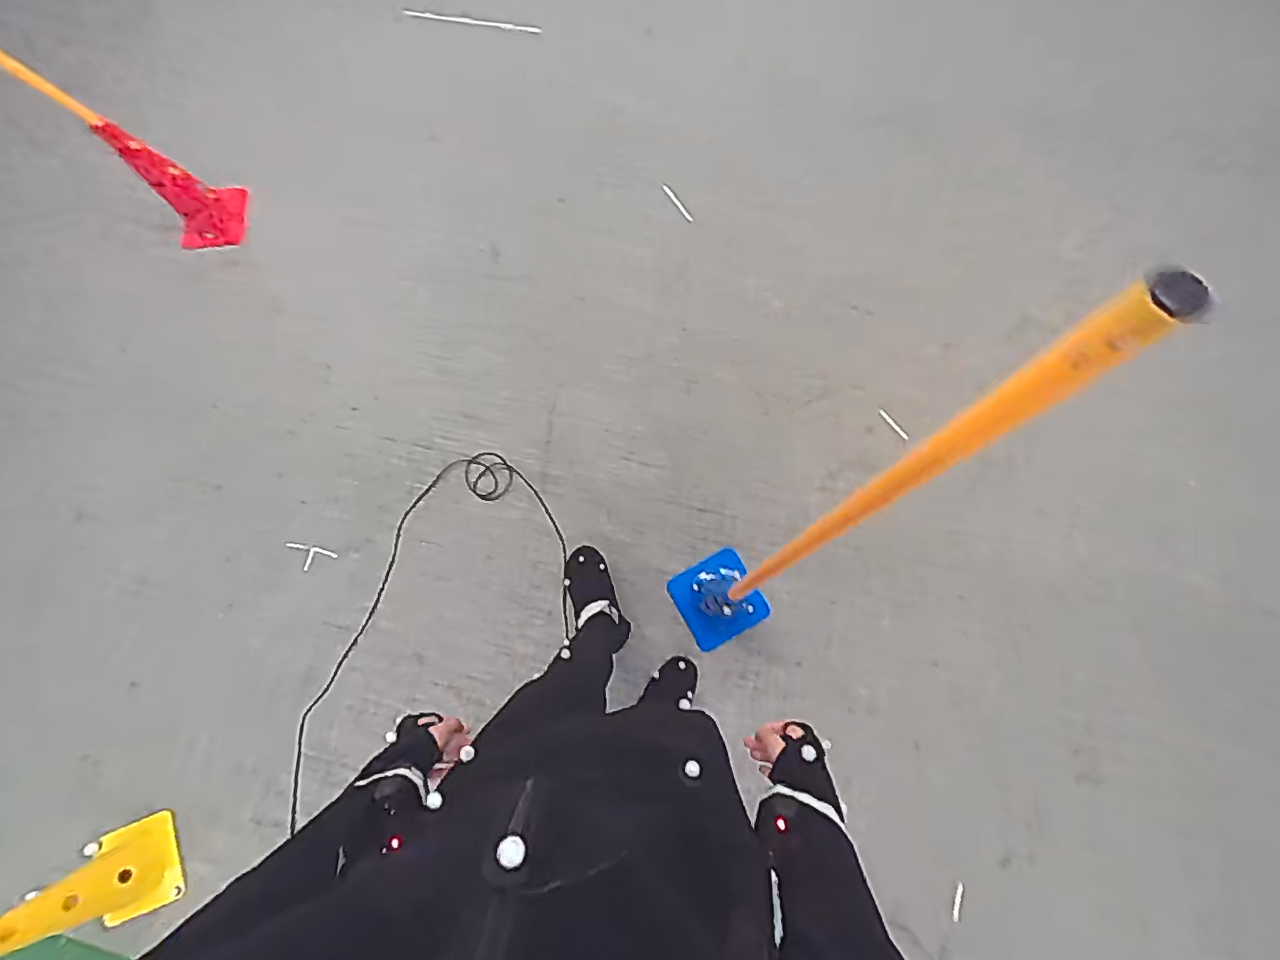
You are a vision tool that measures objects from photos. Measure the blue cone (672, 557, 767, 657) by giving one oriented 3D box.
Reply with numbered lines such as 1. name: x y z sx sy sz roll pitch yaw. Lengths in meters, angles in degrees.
1. blue cone: 0.183 0.263 1.148 0.193 0.380 0.192 -30 77 -5
